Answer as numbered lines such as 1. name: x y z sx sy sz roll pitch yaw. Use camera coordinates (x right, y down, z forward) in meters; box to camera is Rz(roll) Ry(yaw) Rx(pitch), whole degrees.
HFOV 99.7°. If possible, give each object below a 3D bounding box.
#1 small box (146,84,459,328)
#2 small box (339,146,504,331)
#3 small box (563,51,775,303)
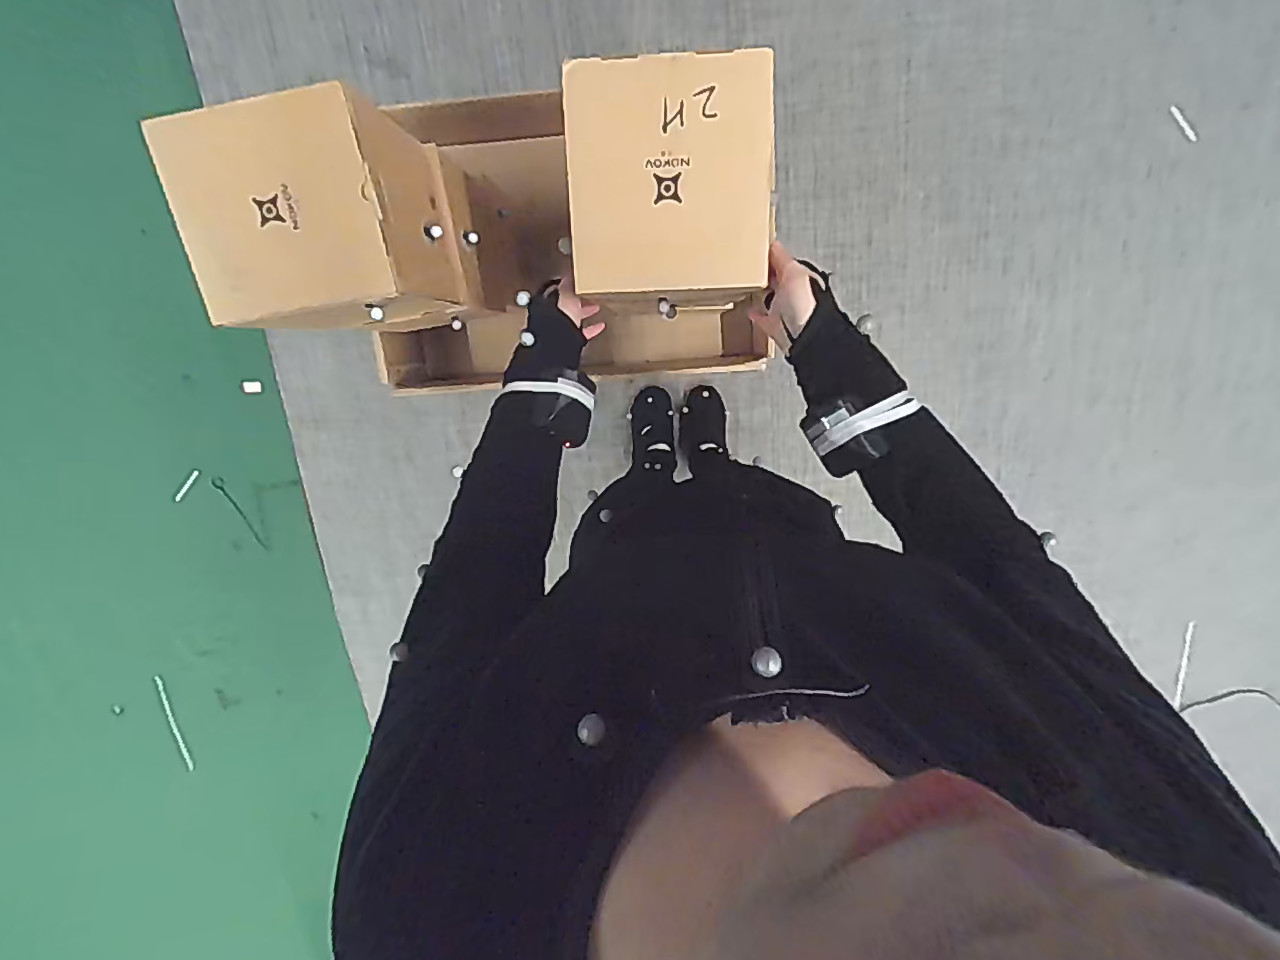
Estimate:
1. small box: -0.305 -0.247 0.533 0.179 0.176 0.168 -9 105 3
2. small box: -0.285 -0.291 0.688 0.168 0.176 0.179 -8 105 4
3. small box: 0.027 -0.262 0.512 0.168 0.176 0.179 -1 105 2
